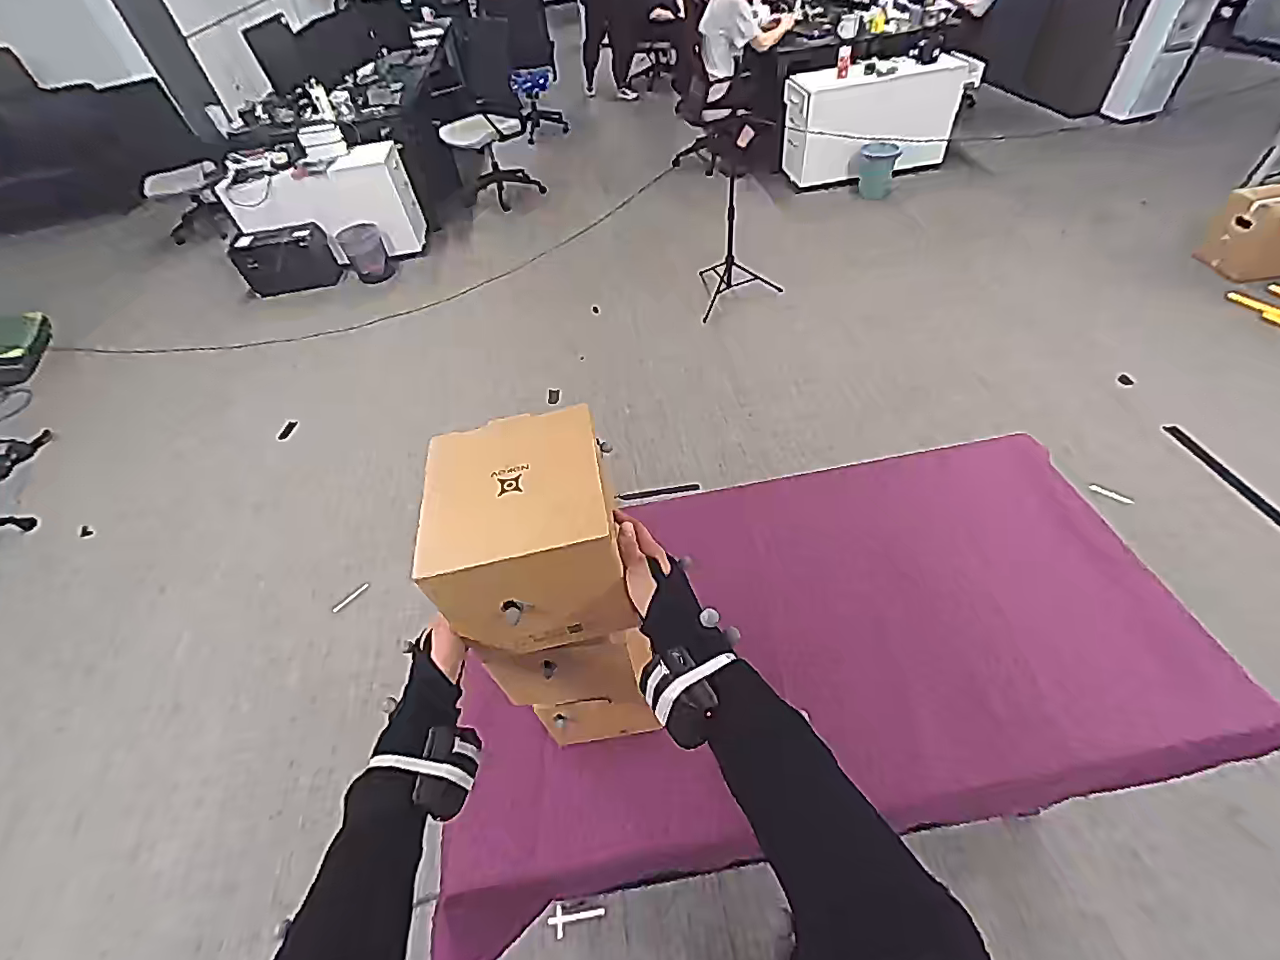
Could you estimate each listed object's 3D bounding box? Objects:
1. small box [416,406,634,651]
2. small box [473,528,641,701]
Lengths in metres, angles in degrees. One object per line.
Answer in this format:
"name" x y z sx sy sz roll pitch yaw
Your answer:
"small box" -0.107 0.056 0.553 0.168 0.176 0.179 -12 47 -1
"small box" -0.095 0.182 0.714 0.179 0.176 0.168 -4 48 4
